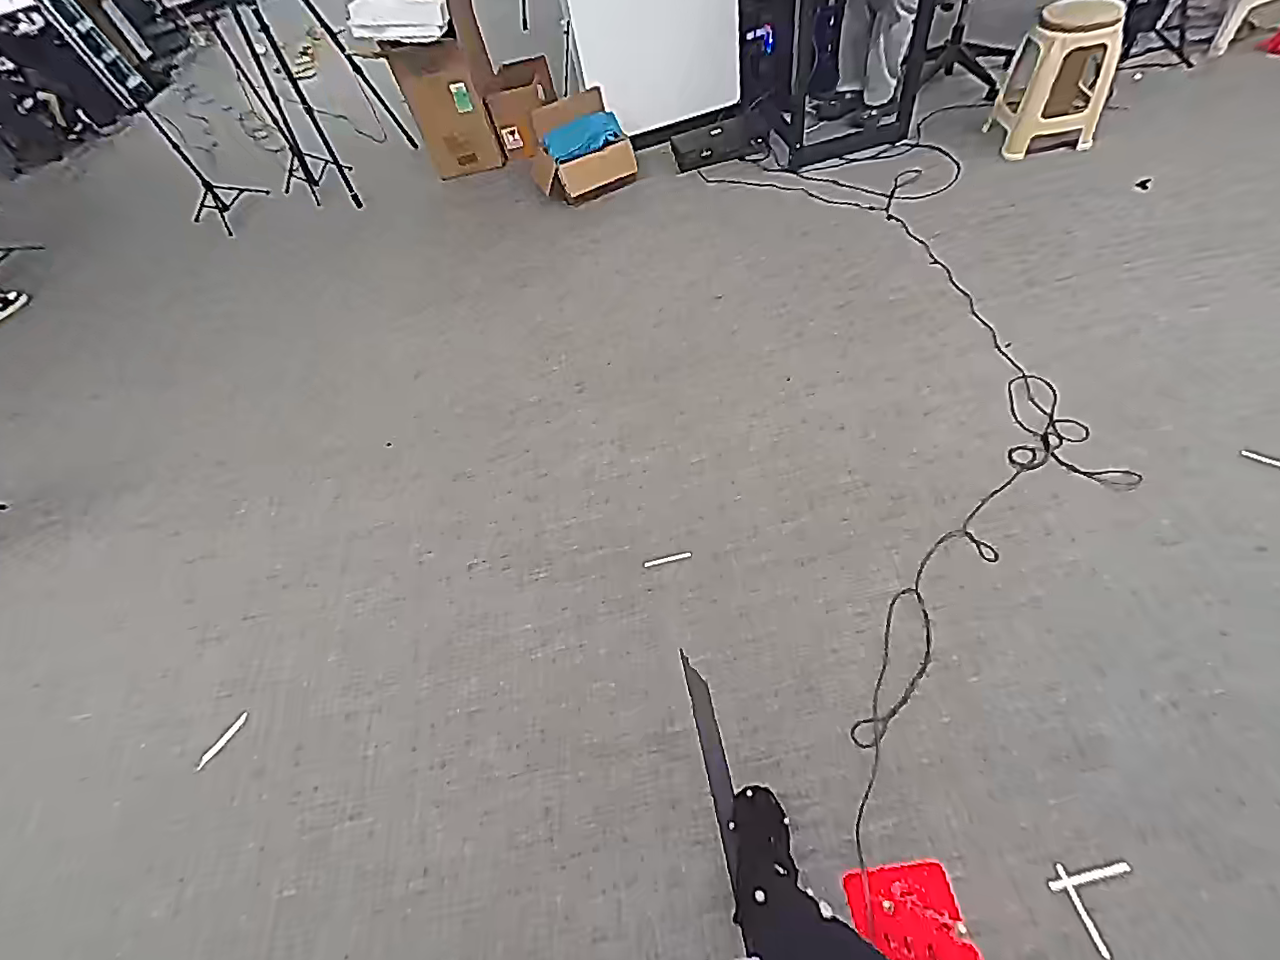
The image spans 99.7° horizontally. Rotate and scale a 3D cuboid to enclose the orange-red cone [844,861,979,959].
[{"bbox_3d":[0.475,0.750,0.877,0.199,0.360,0.198,-10,55,4],"label":"orange-red cone"}]
